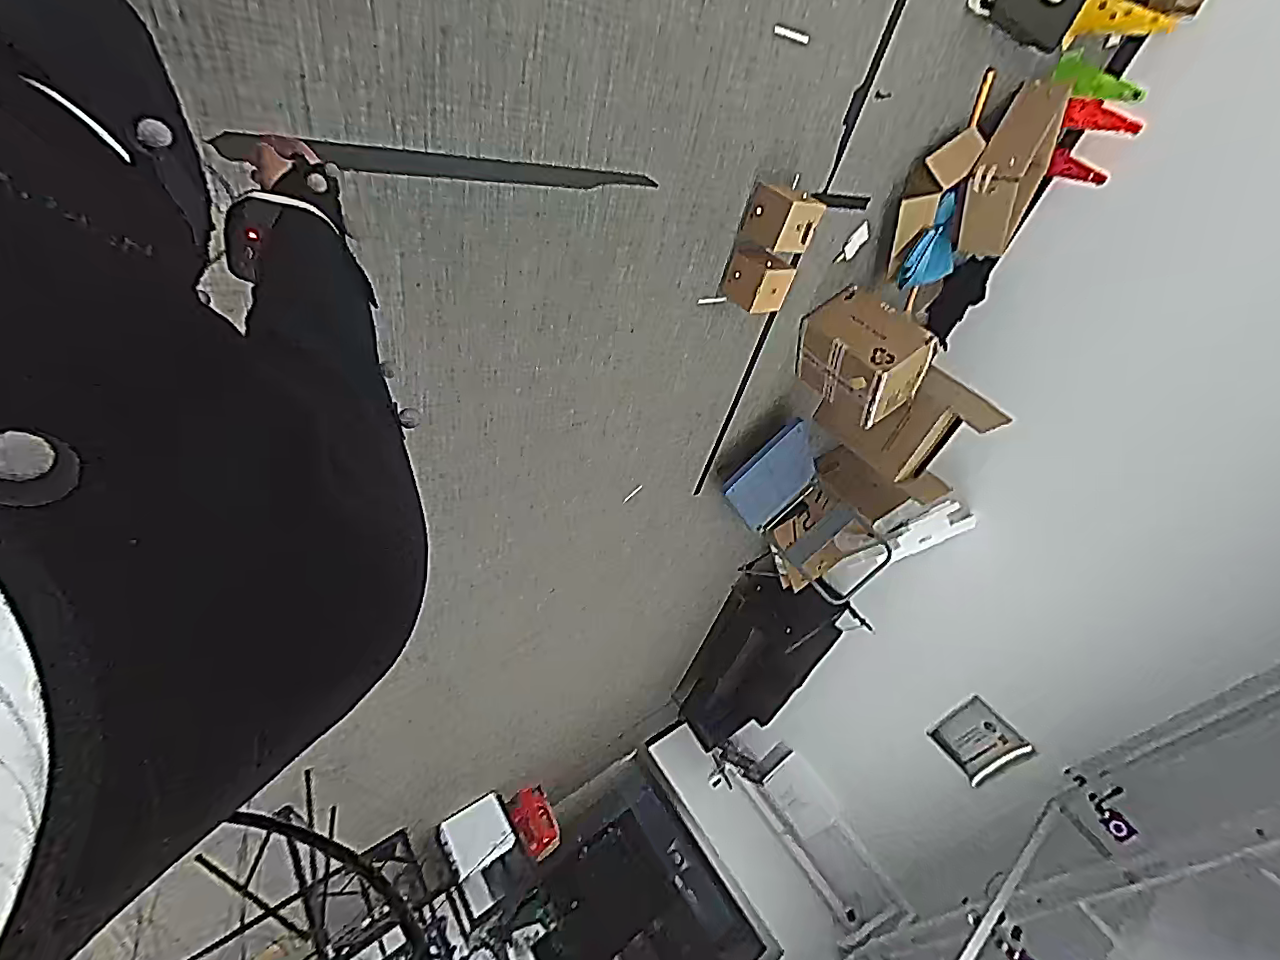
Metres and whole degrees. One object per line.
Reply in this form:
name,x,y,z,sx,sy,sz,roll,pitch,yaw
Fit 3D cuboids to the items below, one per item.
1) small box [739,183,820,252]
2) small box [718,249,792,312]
small box,0.478,-0.908,1.868,0.179,0.176,0.168,-16,141,-36
small box,0.426,-0.748,2.021,0.179,0.176,0.168,-18,143,-35
